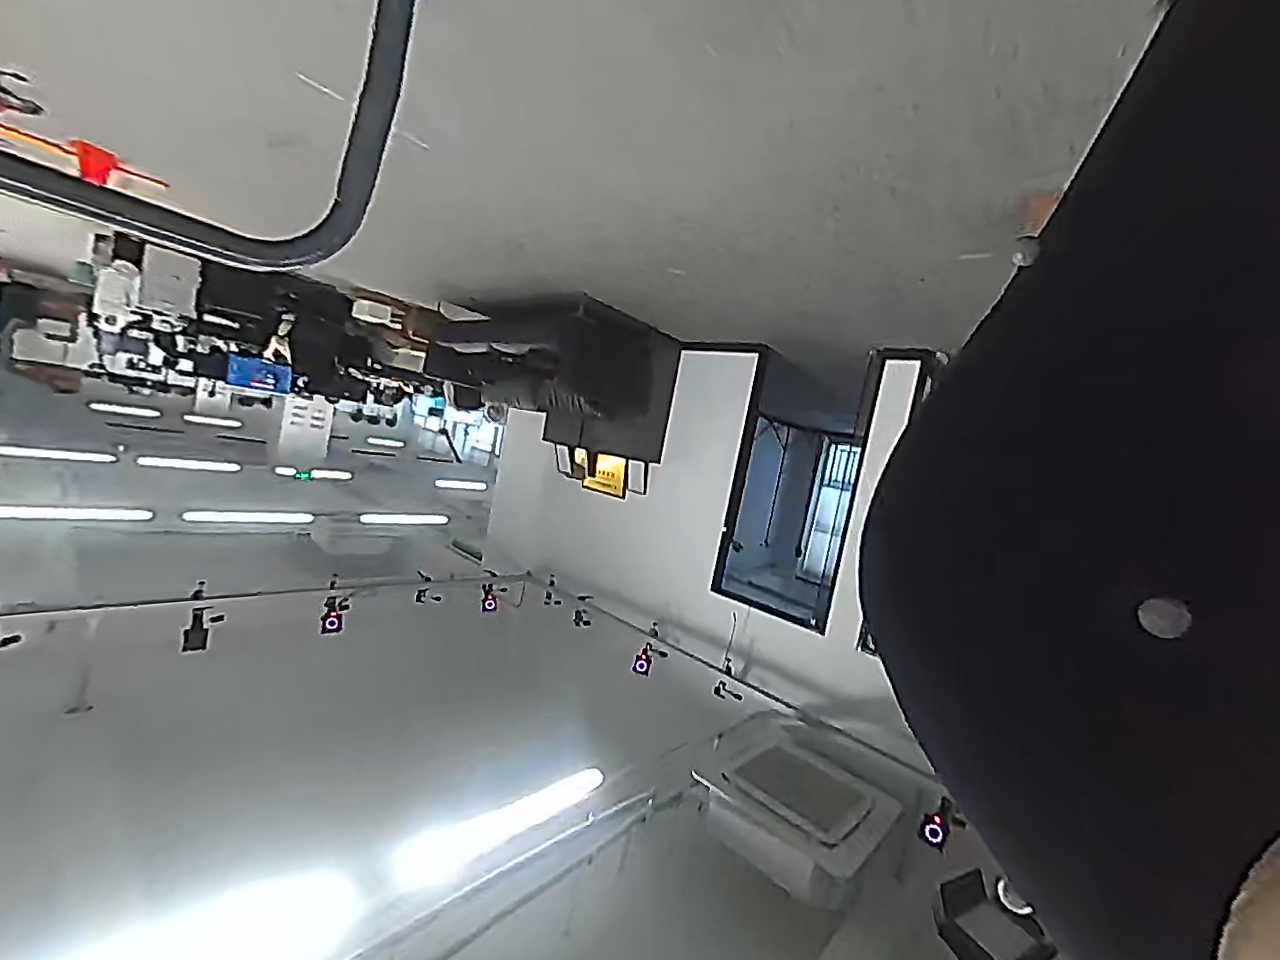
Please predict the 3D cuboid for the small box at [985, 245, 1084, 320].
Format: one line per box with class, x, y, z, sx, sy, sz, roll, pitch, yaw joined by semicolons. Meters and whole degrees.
small box;1.220;-0.612;1.674;0.179;0.176;0.168;11;-178;3
